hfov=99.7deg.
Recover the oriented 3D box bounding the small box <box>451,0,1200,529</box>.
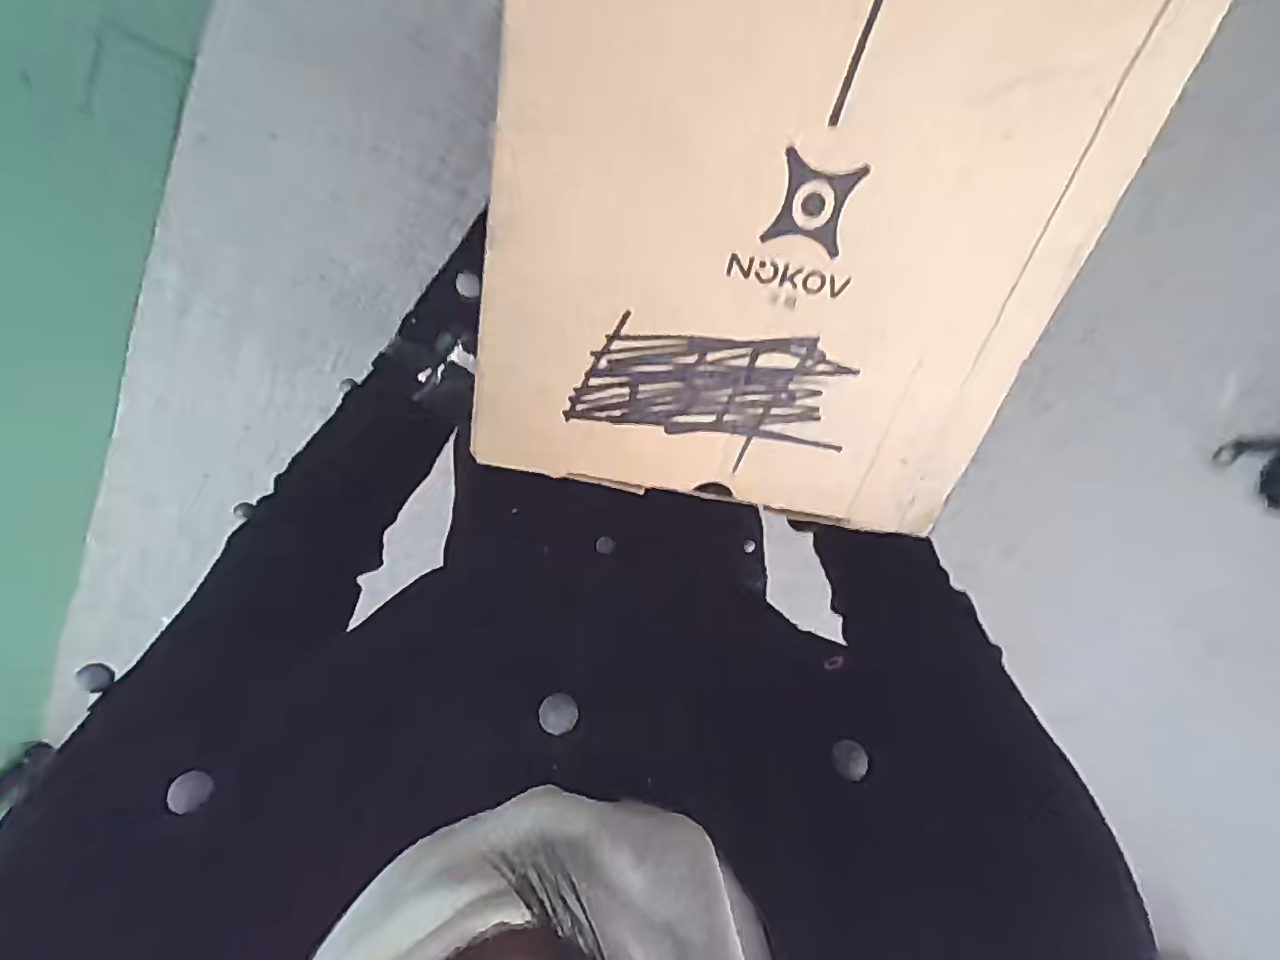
[{"bbox_3d":[0.032,-0.108,0.217,0.168,0.176,0.179,9,118,-8],"label":"small box"}]
